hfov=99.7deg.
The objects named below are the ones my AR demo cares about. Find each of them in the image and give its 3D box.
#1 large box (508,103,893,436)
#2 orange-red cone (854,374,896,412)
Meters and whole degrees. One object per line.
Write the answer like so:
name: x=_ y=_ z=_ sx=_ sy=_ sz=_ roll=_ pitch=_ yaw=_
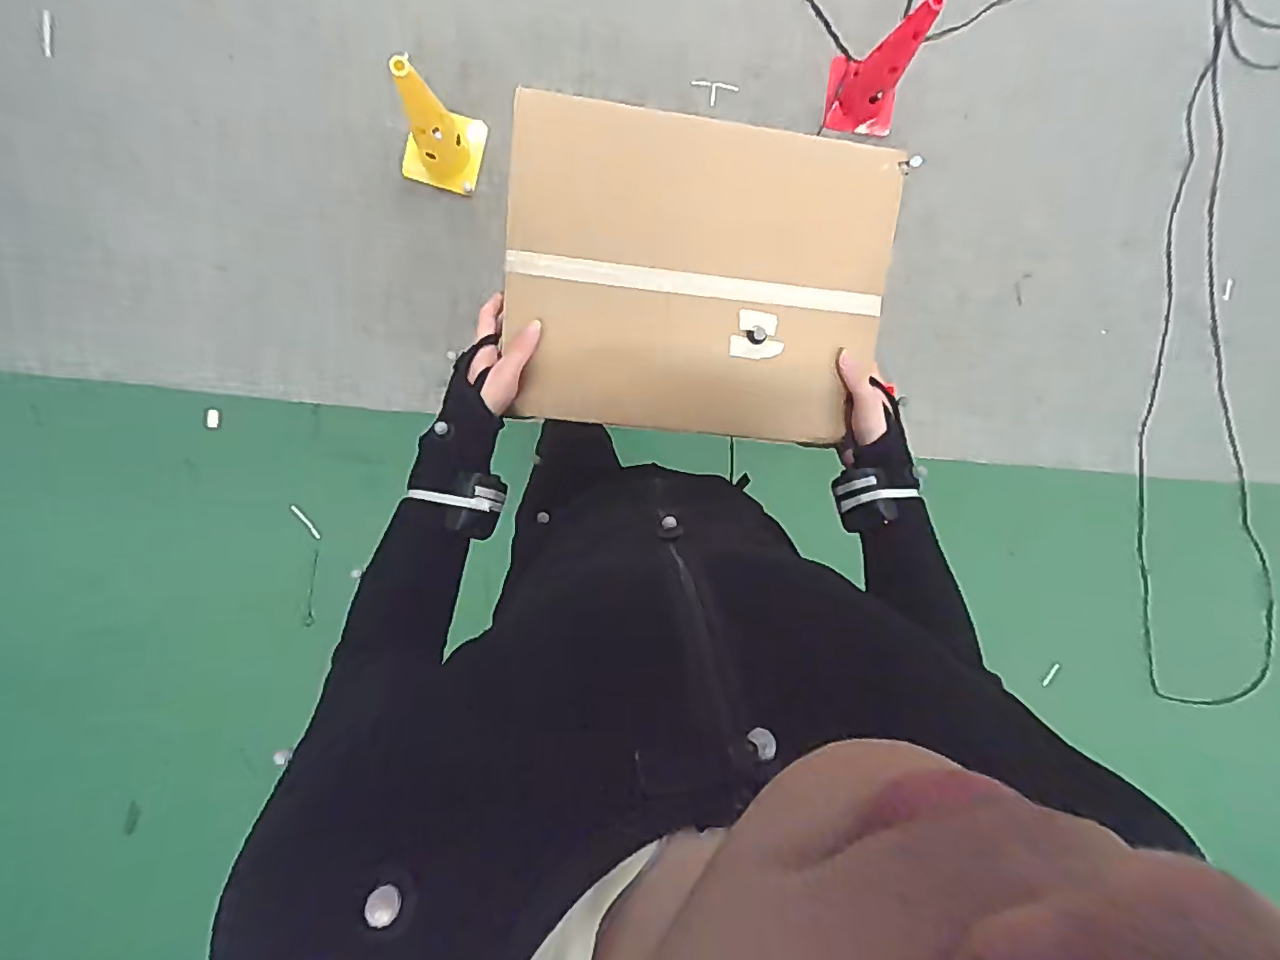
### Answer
large box: x=0.046 y=-0.241 z=0.725 sx=0.408 sy=0.320 sz=0.320 roll=4 pitch=102 yaw=-7
orange-red cone: x=0.582 y=-0.231 z=1.469 sx=0.199 sy=0.360 sz=0.198 roll=12 pitch=95 yaw=-7
